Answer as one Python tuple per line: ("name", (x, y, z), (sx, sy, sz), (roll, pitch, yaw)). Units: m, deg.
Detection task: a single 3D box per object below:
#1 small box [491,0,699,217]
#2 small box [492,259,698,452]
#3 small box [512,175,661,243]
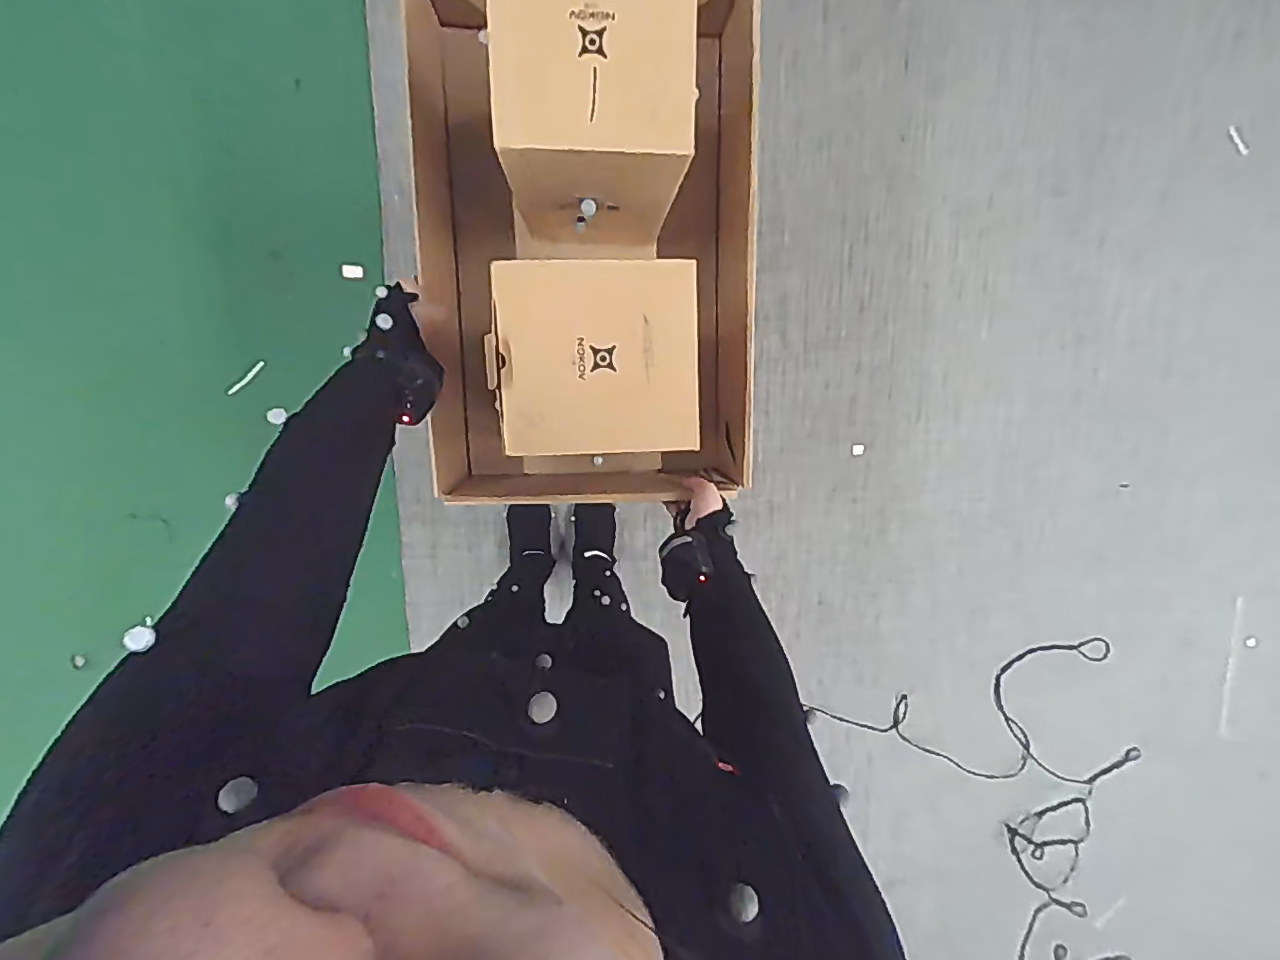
("small box", (-0.043, -0.367, 0.505), (0.168, 0.176, 0.179), (0, 101, -5))
("small box", (-0.043, -0.118, 0.548), (0.179, 0.176, 0.168), (-3, 99, -5))
("small box", (-0.058, -0.400, 0.665), (0.179, 0.176, 0.168), (0, 101, -5))
